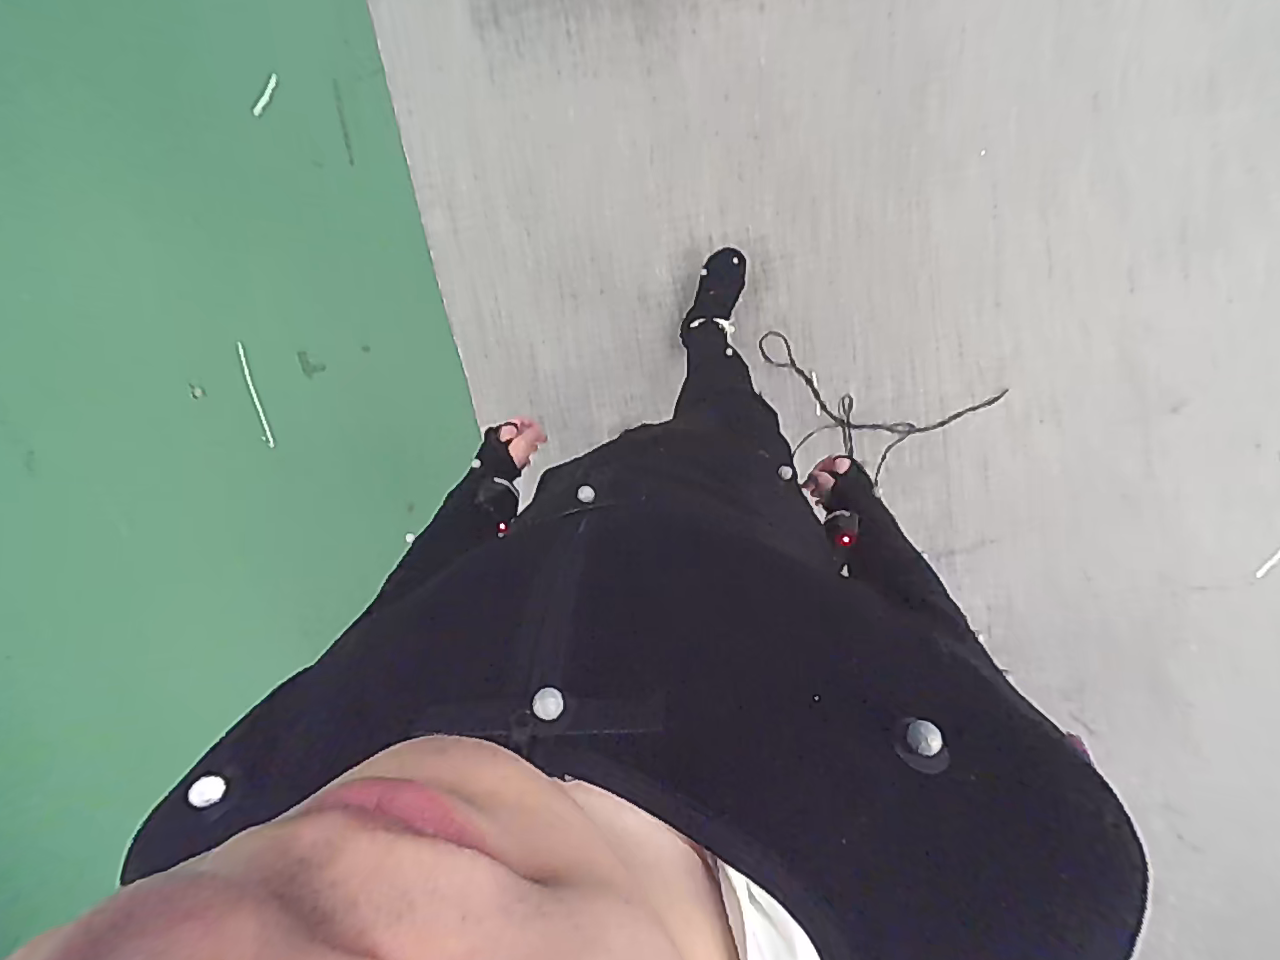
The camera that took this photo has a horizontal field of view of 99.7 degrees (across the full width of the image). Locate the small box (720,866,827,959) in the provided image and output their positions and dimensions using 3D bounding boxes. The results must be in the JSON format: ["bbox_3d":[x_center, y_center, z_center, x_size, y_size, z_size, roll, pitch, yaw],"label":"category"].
[{"bbox_3d":[0.244,0.838,0.963,0.168,0.176,0.179,-13,102,7],"label":"small box"}]
